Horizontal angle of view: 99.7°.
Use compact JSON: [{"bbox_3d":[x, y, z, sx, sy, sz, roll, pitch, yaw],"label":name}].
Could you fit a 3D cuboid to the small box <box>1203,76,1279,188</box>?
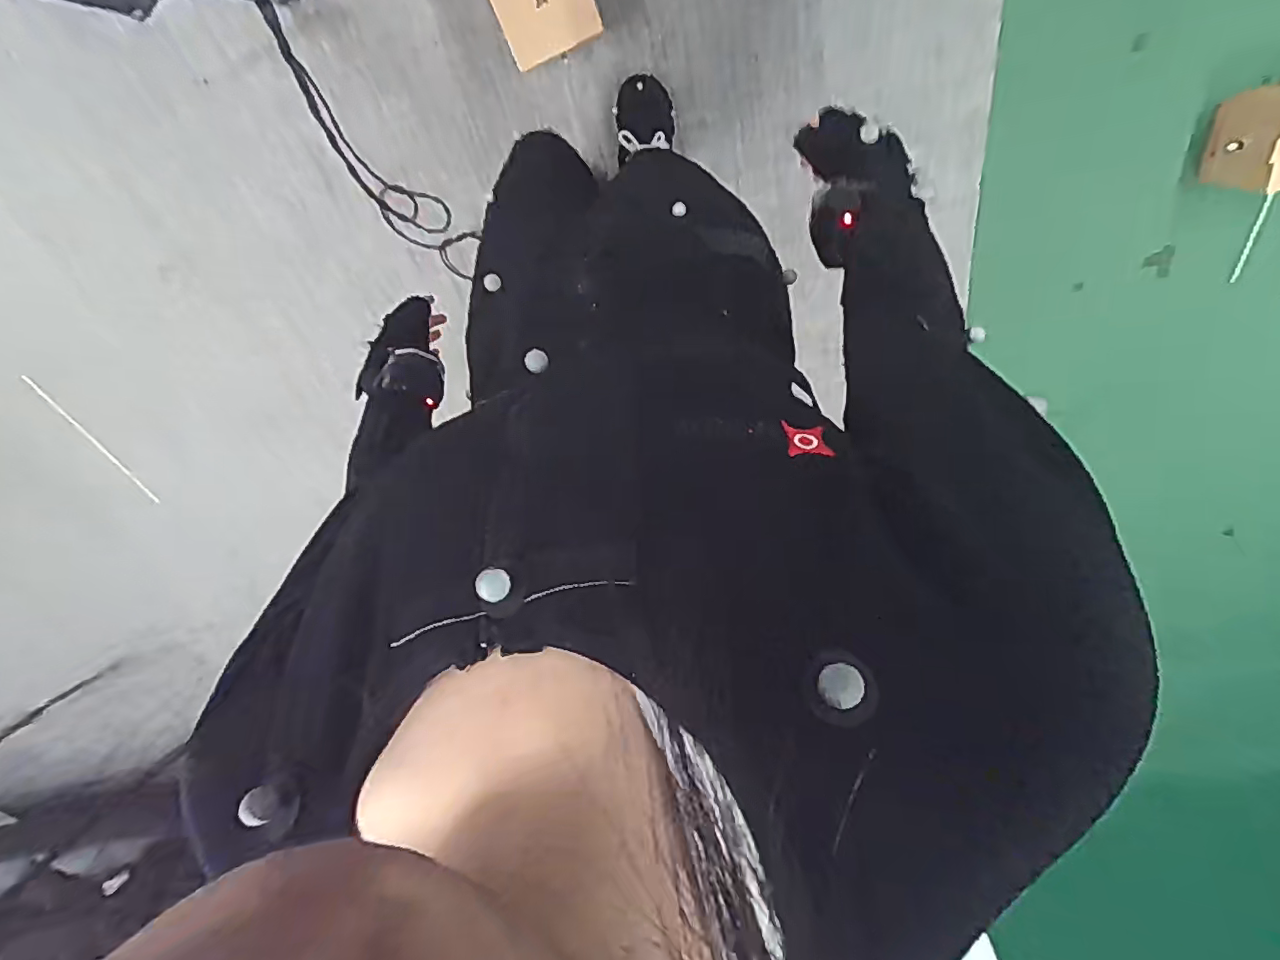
[{"bbox_3d":[1.322,-0.716,1.096,0.179,0.176,0.168,-12,128,10],"label":"small box"}]
